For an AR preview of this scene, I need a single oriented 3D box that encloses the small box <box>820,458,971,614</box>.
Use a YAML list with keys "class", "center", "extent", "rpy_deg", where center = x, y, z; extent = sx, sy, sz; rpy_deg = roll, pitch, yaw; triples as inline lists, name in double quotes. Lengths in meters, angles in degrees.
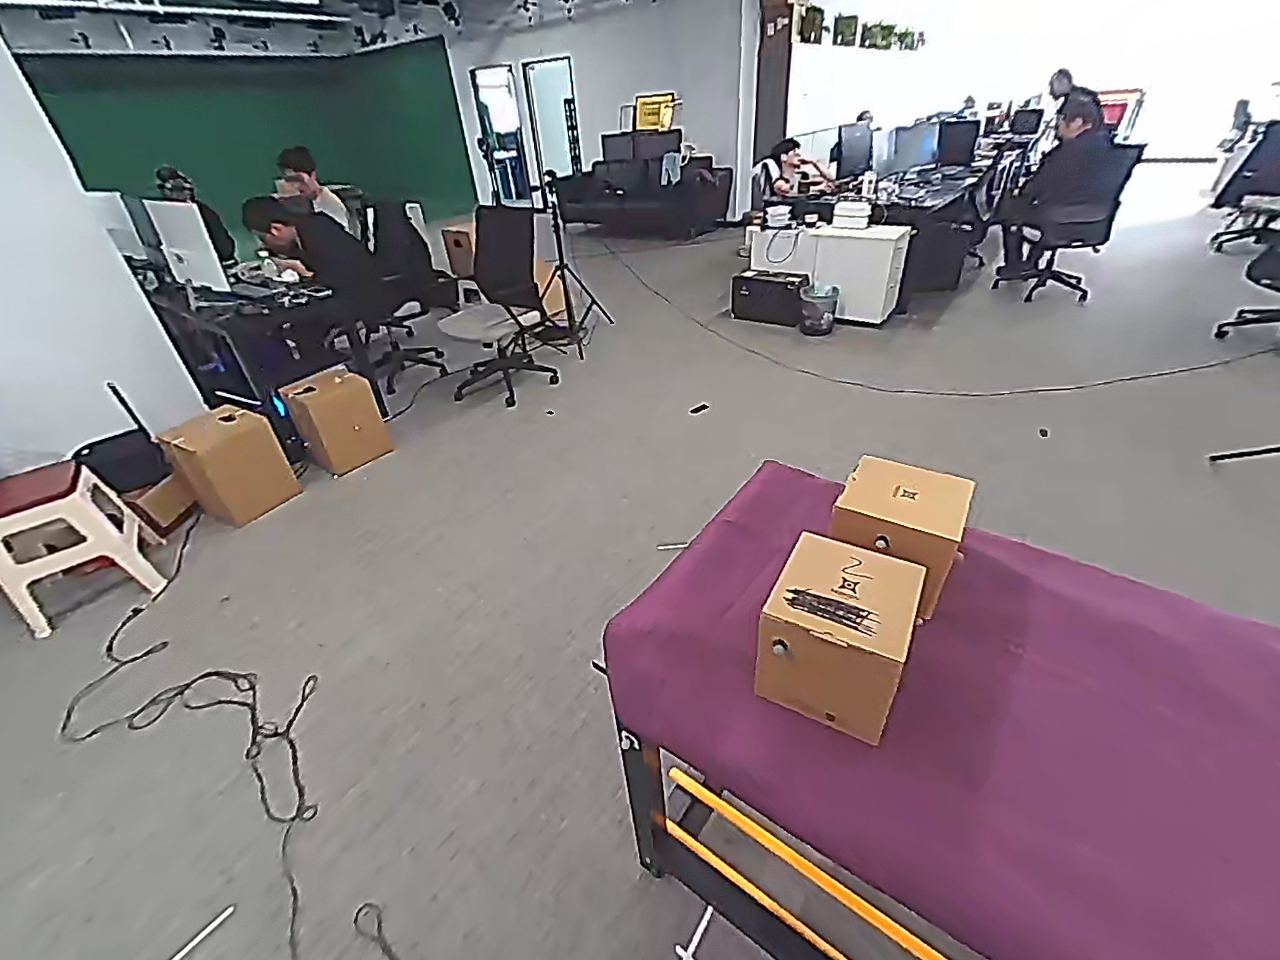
- class: "small box"
  center: [0.415, 0.093, 0.890]
  extent: [0.179, 0.176, 0.168]
  rpy_deg: [18, 40, 28]
